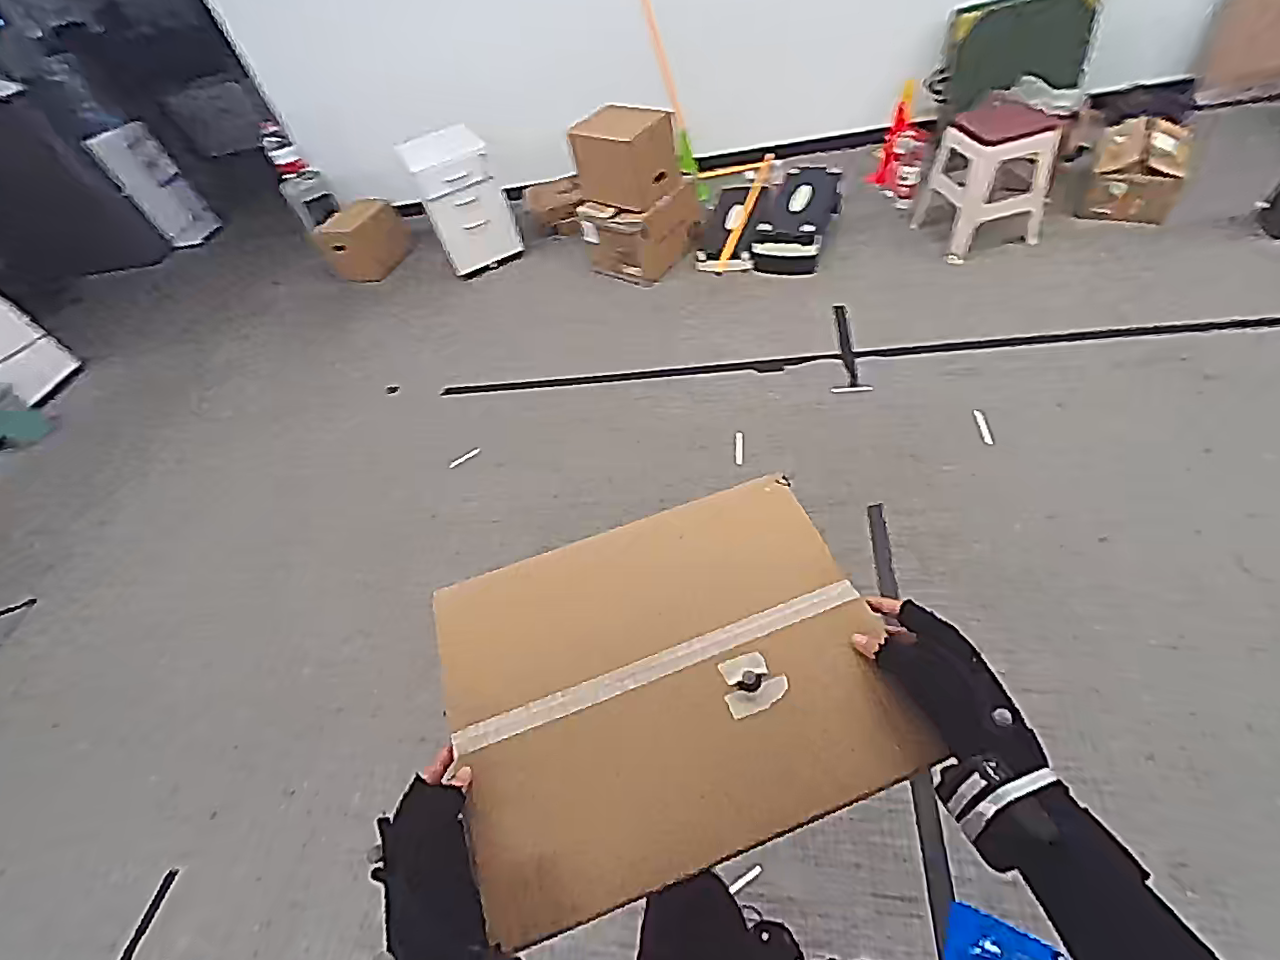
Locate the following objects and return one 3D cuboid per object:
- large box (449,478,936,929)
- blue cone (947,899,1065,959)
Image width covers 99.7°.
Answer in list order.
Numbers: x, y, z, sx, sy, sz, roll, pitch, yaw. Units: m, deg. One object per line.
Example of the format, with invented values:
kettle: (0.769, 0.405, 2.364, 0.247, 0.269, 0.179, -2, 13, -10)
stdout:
large box: (0.037, 0.259, 0.648, 0.408, 0.320, 0.320, -18, 56, -7)
blue cone: (0.649, 0.828, 0.890, 0.193, 0.380, 0.192, 17, 57, 25)
